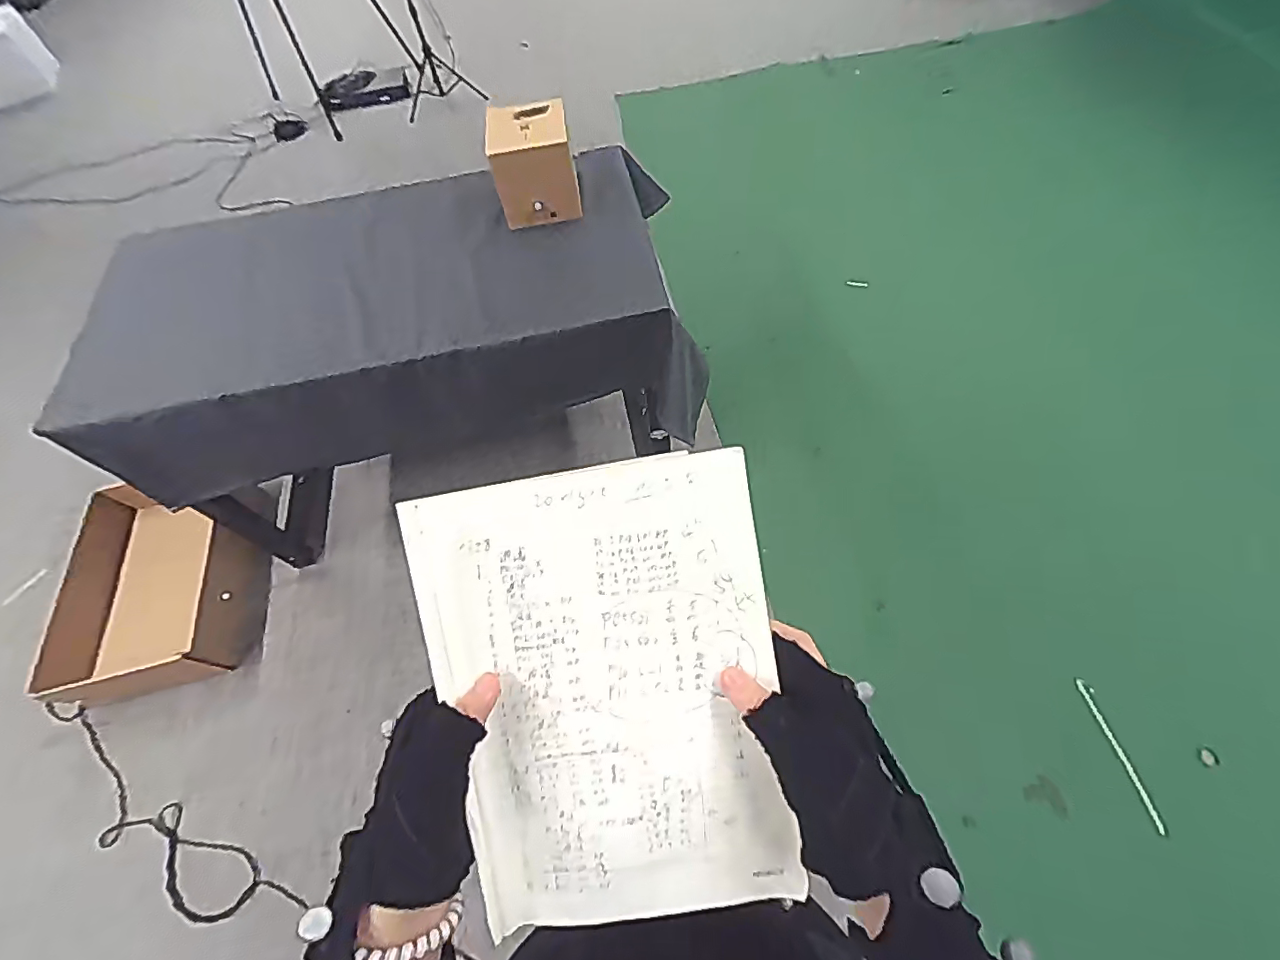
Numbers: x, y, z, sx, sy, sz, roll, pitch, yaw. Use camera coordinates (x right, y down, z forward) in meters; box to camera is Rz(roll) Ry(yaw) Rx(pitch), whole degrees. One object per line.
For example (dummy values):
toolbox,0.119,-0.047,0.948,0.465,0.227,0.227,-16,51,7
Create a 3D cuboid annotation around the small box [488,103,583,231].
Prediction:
small box,-0.223,-0.675,1.174,0.168,0.176,0.179,-9,60,1
